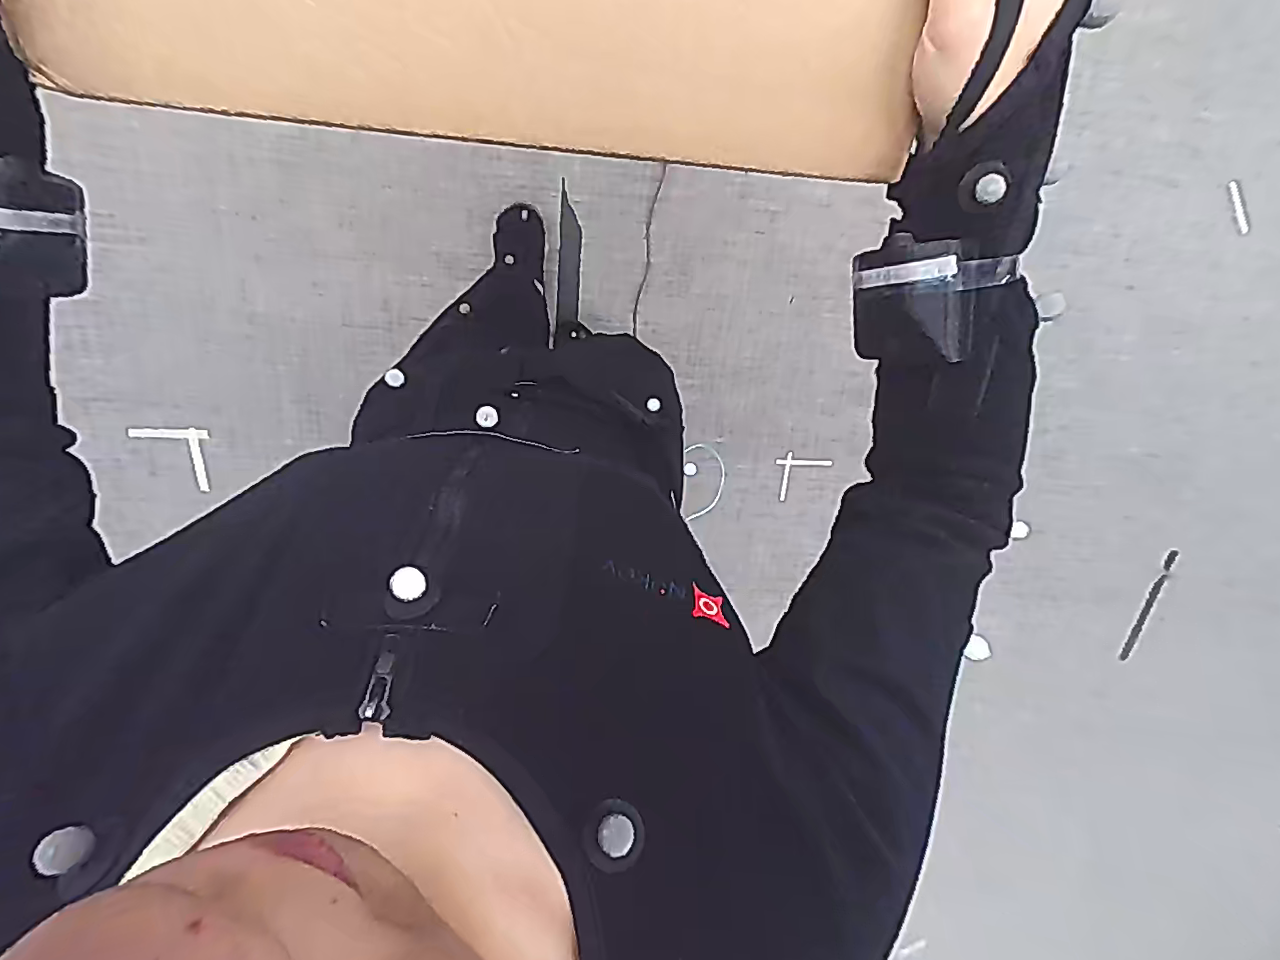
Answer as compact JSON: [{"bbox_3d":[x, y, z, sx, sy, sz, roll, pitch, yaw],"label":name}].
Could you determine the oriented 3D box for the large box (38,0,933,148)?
[{"bbox_3d":[-0.062,-0.389,0.307,0.408,0.320,0.320,3,124,-6],"label":"large box"}]
